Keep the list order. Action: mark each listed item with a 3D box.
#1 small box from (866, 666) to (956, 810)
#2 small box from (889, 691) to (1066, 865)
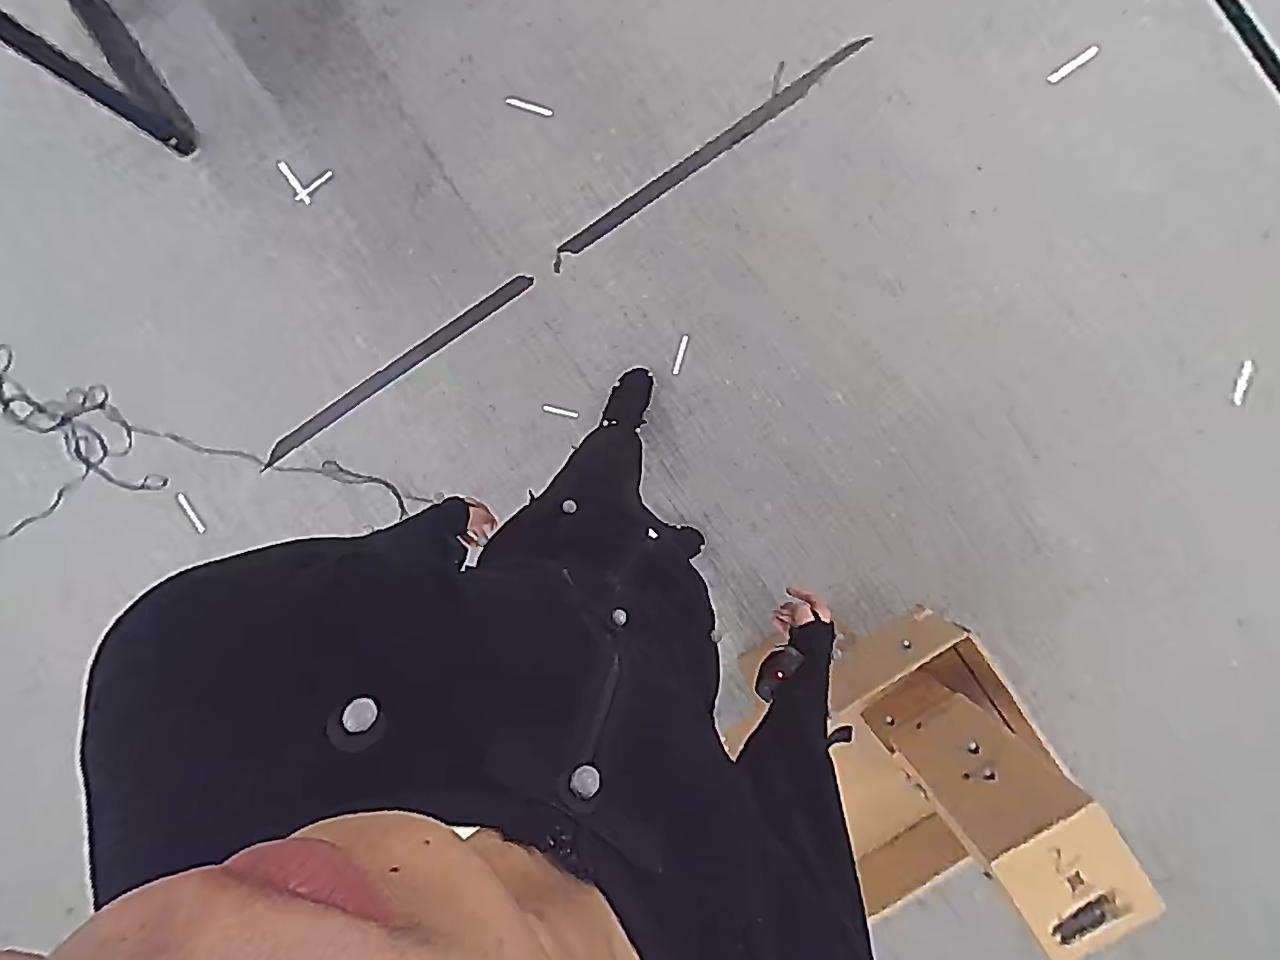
[{"bbox_3d":[0.602,0.527,1.127,0.179,0.176,0.168,-39,92,3],"label":"small box"},{"bbox_3d":[0.587,0.517,0.964,0.168,0.176,0.179,-34,92,2],"label":"small box"}]
